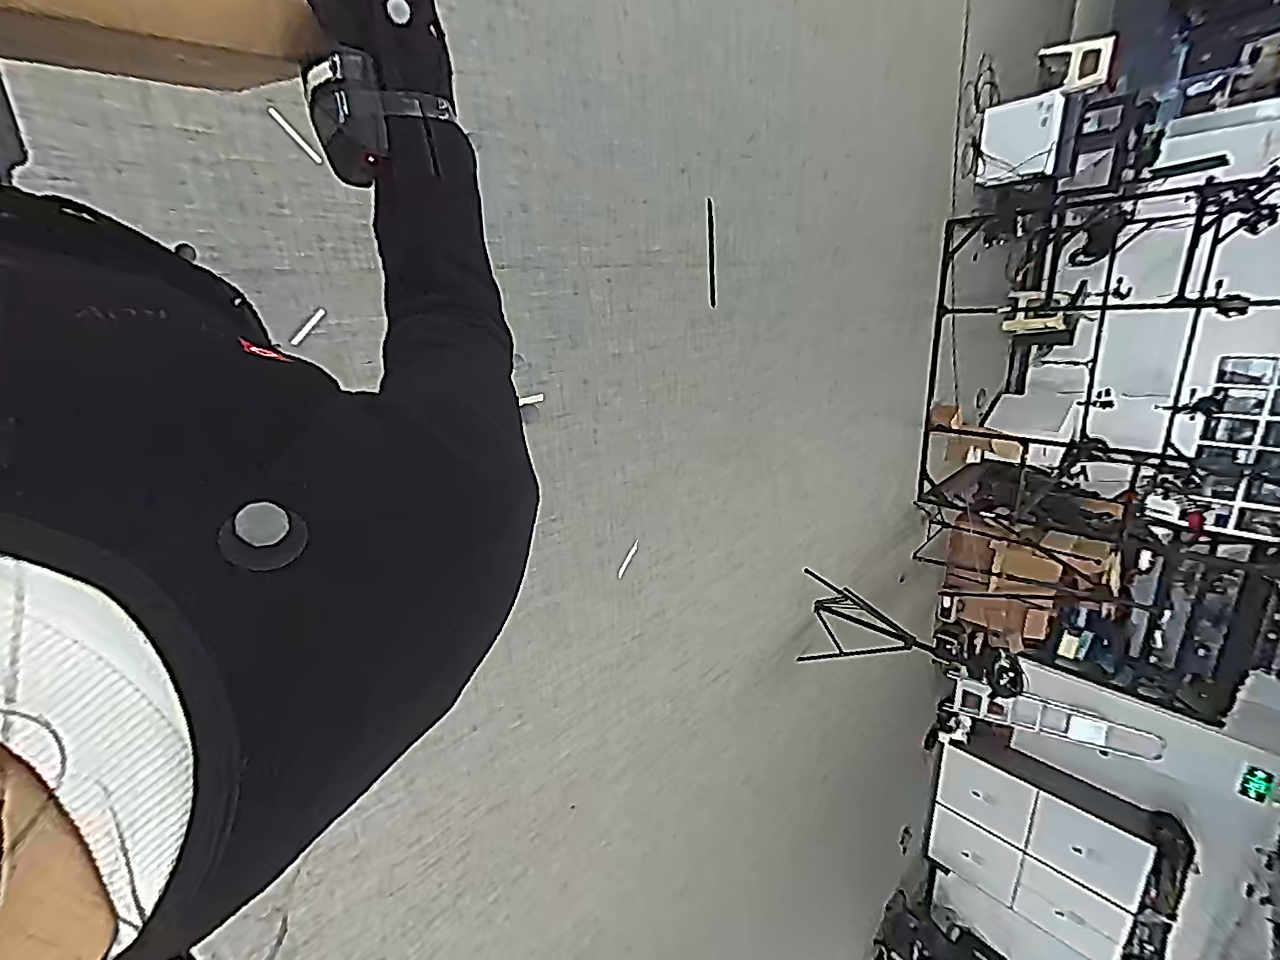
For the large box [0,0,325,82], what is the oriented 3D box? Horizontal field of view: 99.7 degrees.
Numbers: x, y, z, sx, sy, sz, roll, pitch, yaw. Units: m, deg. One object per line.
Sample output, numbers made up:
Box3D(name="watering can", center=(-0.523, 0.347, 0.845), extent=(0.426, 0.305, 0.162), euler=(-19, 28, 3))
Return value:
Box3D(name="large box", center=(-0.443, -0.415, 0.256), extent=(0.408, 0.320, 0.320), euler=(-21, 129, -39))
